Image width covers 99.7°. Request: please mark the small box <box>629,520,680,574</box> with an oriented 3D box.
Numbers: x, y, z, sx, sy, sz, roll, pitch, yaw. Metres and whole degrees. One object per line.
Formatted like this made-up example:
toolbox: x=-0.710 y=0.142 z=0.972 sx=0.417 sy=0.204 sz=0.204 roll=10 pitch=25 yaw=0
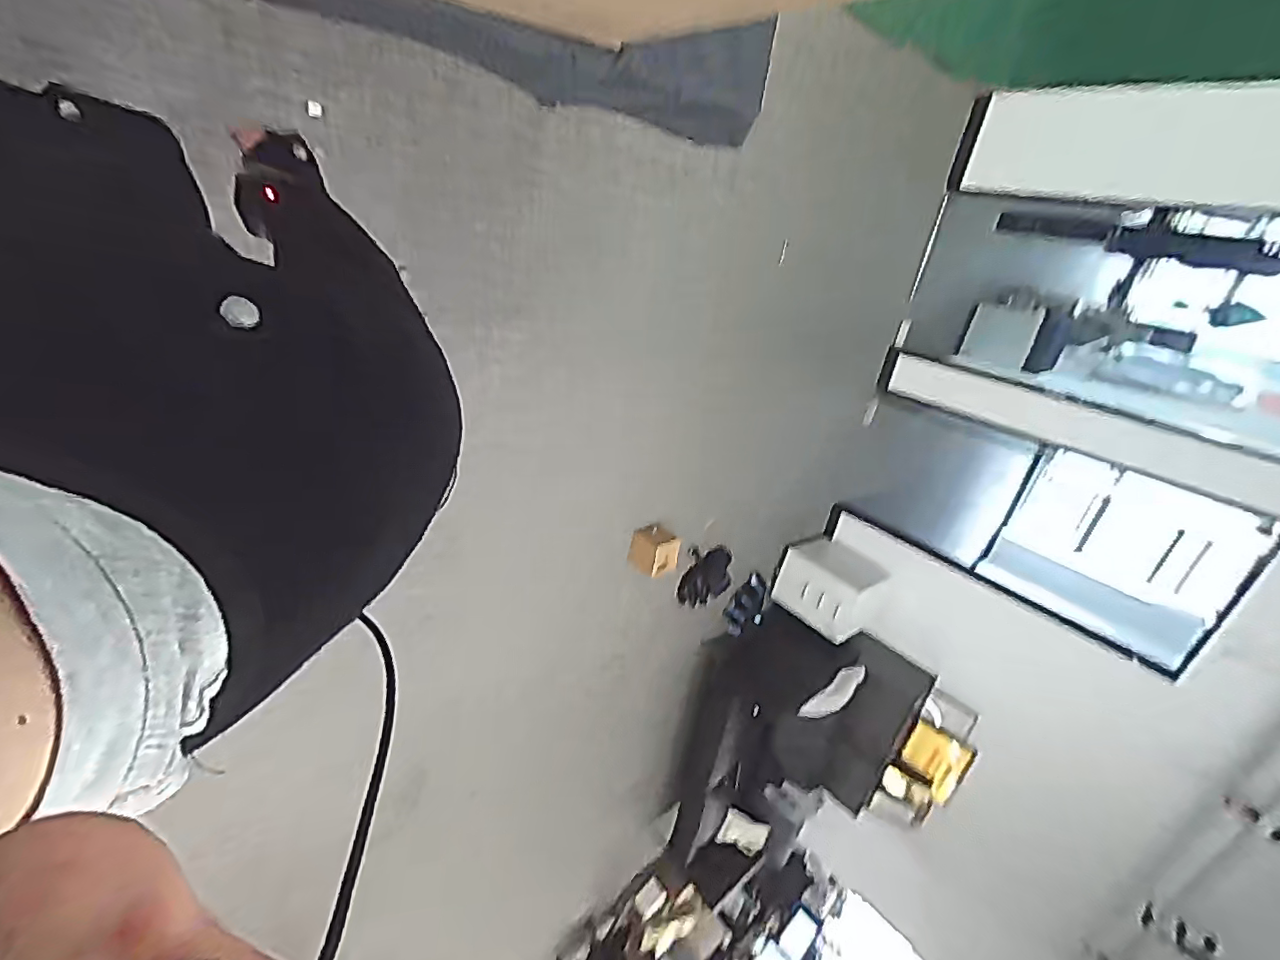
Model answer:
small box: x=0.065 y=0.322 z=2.629 sx=0.168 sy=0.176 sz=0.179 roll=-14 pitch=124 yaw=-40
